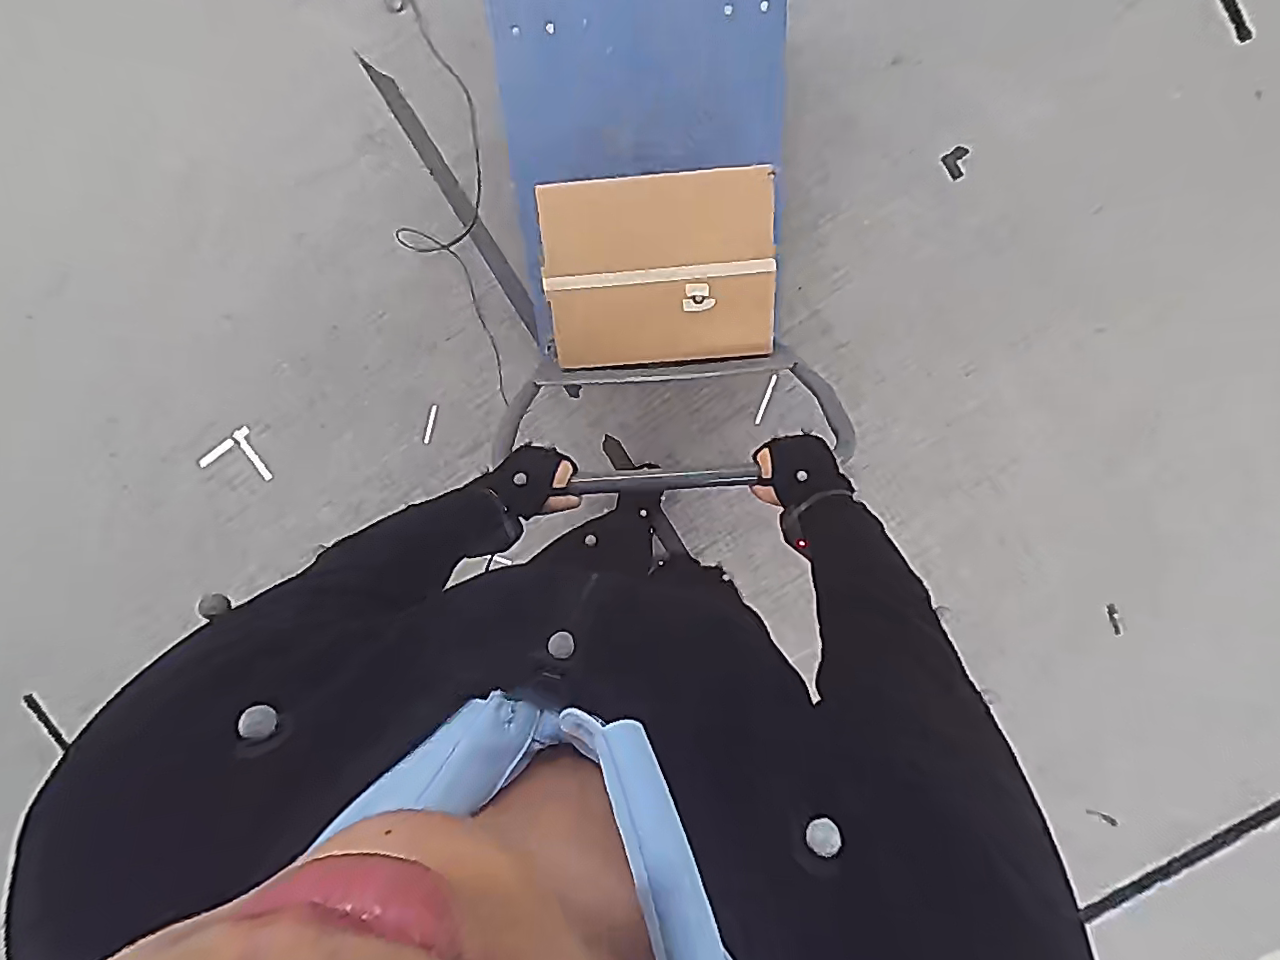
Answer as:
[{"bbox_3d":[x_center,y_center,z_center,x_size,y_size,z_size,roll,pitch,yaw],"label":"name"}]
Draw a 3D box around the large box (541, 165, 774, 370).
[{"bbox_3d":[0.040,-0.426,1.113,0.408,0.320,0.320,-5,113,2],"label":"large box"}]
